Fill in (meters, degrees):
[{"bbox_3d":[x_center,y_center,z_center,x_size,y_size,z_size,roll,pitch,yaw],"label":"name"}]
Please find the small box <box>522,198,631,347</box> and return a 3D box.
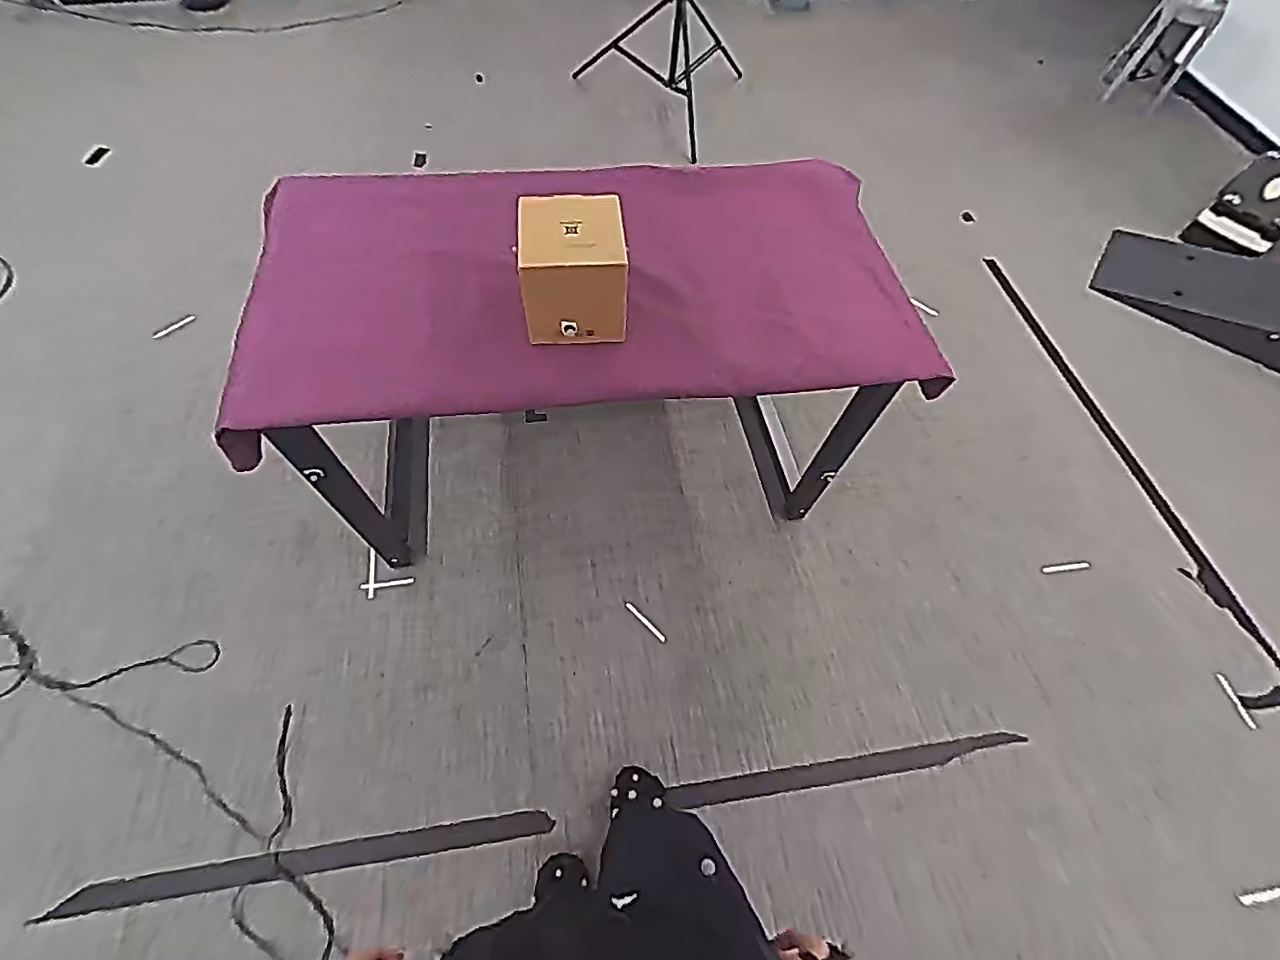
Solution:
[{"bbox_3d":[-0.109,-0.350,0.920,0.168,0.176,0.179,-4,61,-6],"label":"small box"}]
